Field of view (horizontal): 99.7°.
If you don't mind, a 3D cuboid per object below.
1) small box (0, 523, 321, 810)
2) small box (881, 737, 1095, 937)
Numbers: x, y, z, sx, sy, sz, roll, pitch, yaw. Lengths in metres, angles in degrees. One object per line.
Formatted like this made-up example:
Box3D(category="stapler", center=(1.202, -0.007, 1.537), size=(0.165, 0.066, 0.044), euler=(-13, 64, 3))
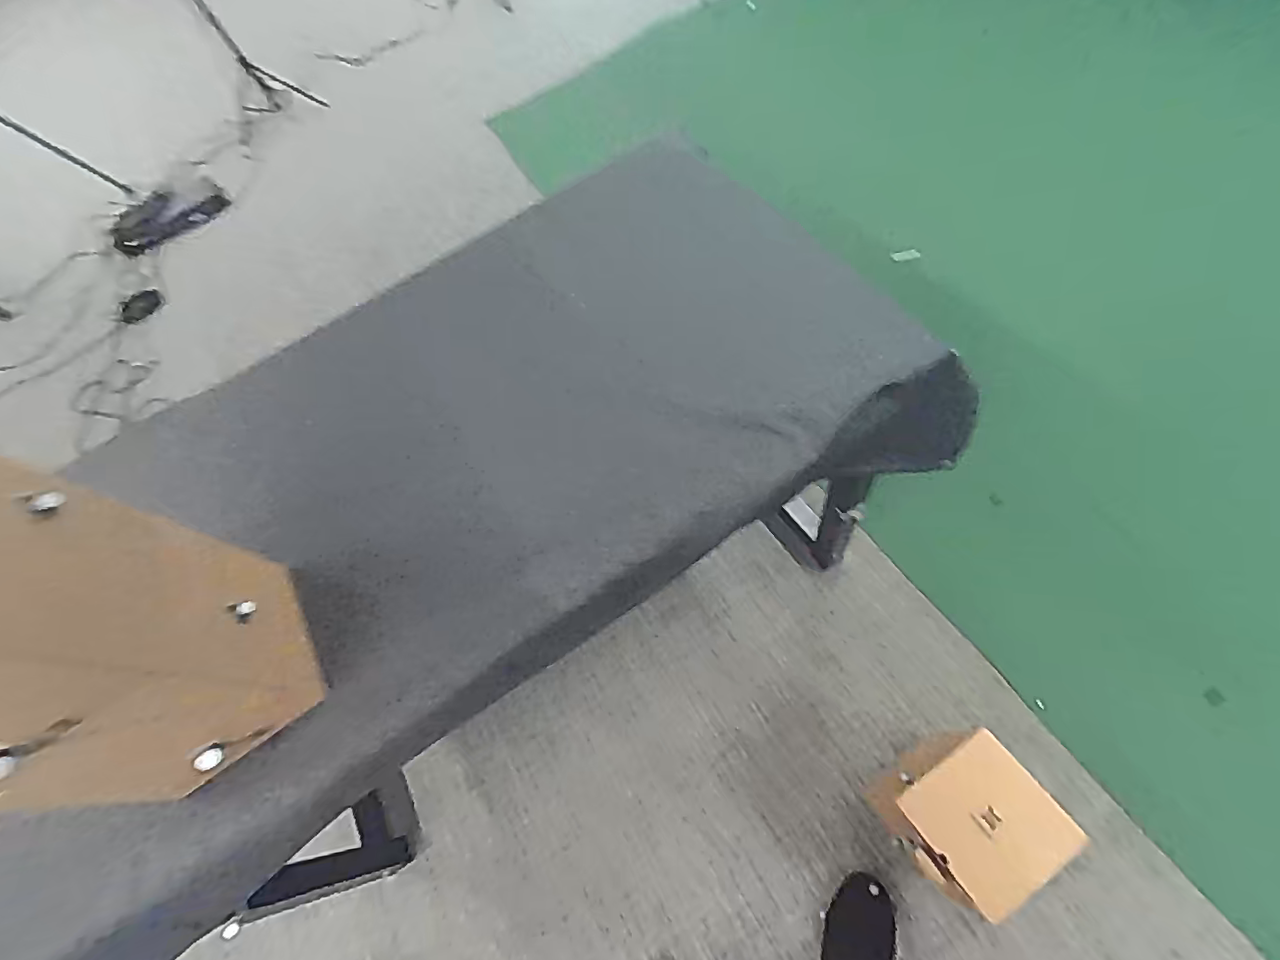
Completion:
Box3D(category="small box", center=(-0.444, 0.177, 0.507), size=(0.168, 0.176, 0.179), euler=(-35, 62, -7))
Box3D(category="small box", center=(0.485, 0.500, 0.788), size=(0.179, 0.176, 0.168), euler=(-35, 62, -7))
